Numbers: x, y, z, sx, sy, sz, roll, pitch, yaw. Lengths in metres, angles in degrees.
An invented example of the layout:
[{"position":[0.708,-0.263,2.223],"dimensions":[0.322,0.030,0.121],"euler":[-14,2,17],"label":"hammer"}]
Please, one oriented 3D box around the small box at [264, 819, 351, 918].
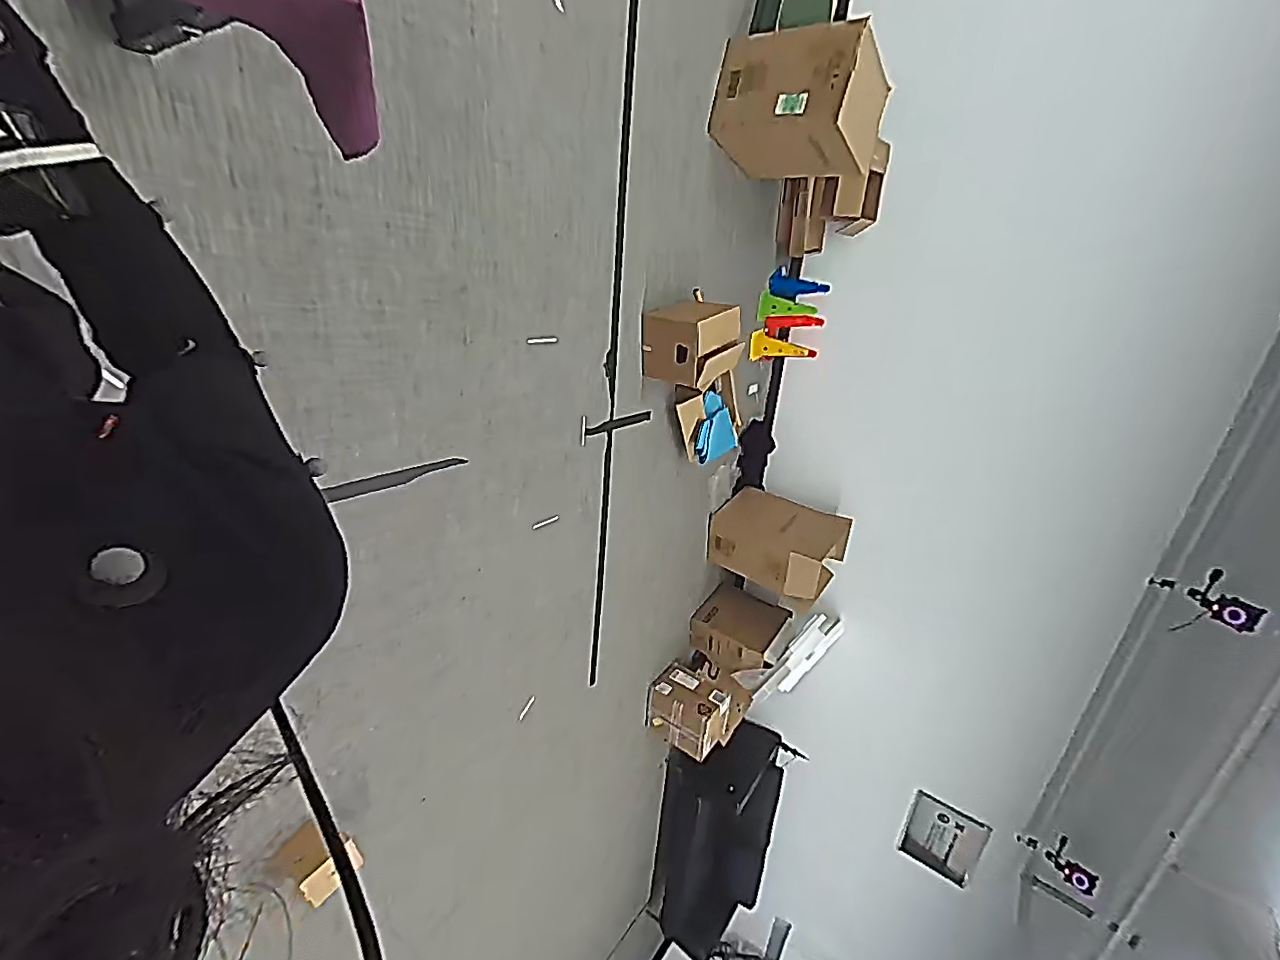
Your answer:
[{"position":[-1.111,1.286,1.799],"dimensions":[0.179,0.176,0.168],"euler":[-38,137,-44],"label":"small box"}]
